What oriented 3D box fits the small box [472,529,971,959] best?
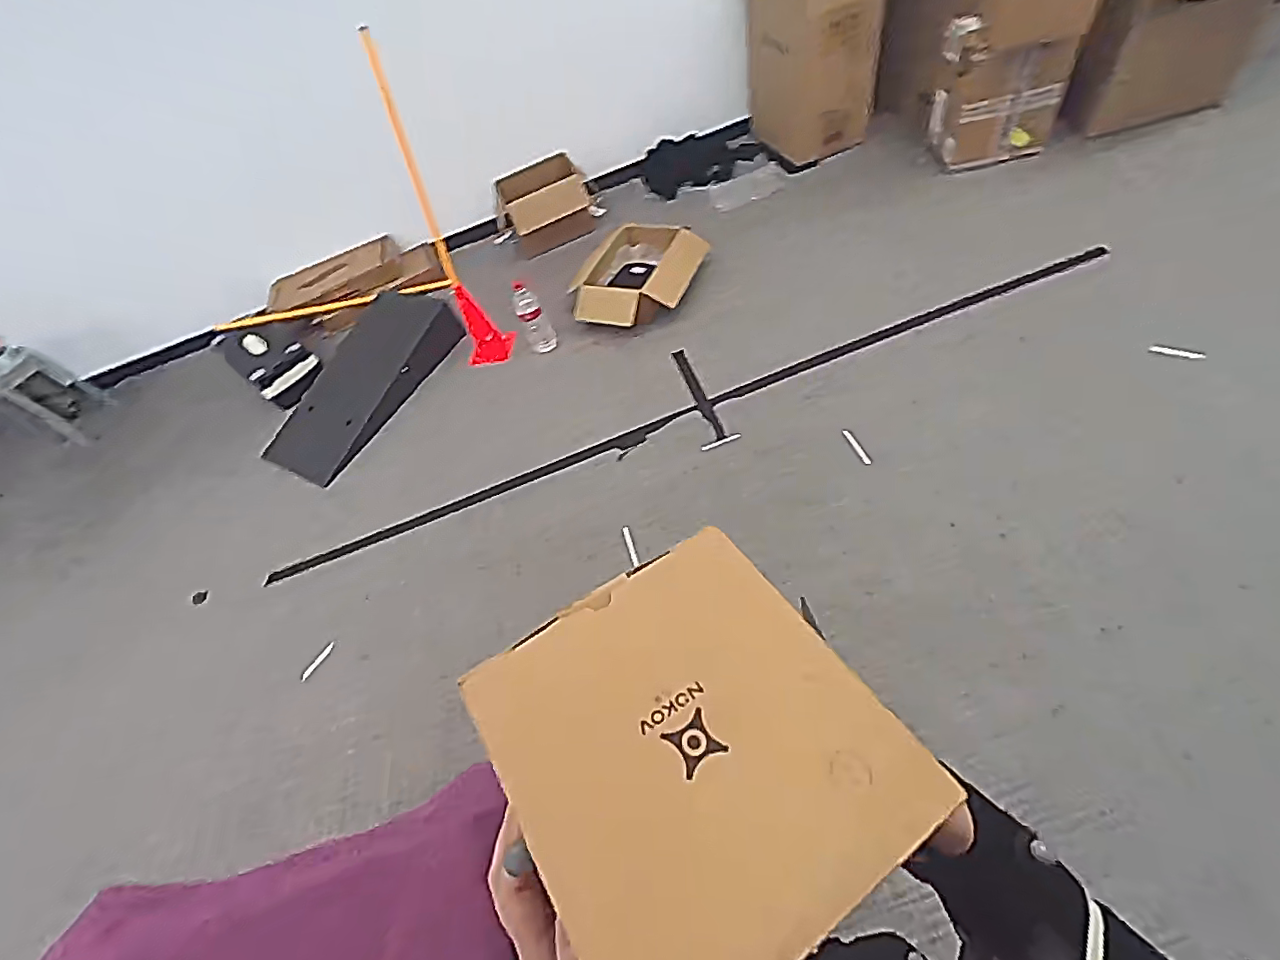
[{"bbox_3d":[0.033,0.168,0.312,0.168,0.176,0.179,-29,53,-17],"label":"small box"}]
